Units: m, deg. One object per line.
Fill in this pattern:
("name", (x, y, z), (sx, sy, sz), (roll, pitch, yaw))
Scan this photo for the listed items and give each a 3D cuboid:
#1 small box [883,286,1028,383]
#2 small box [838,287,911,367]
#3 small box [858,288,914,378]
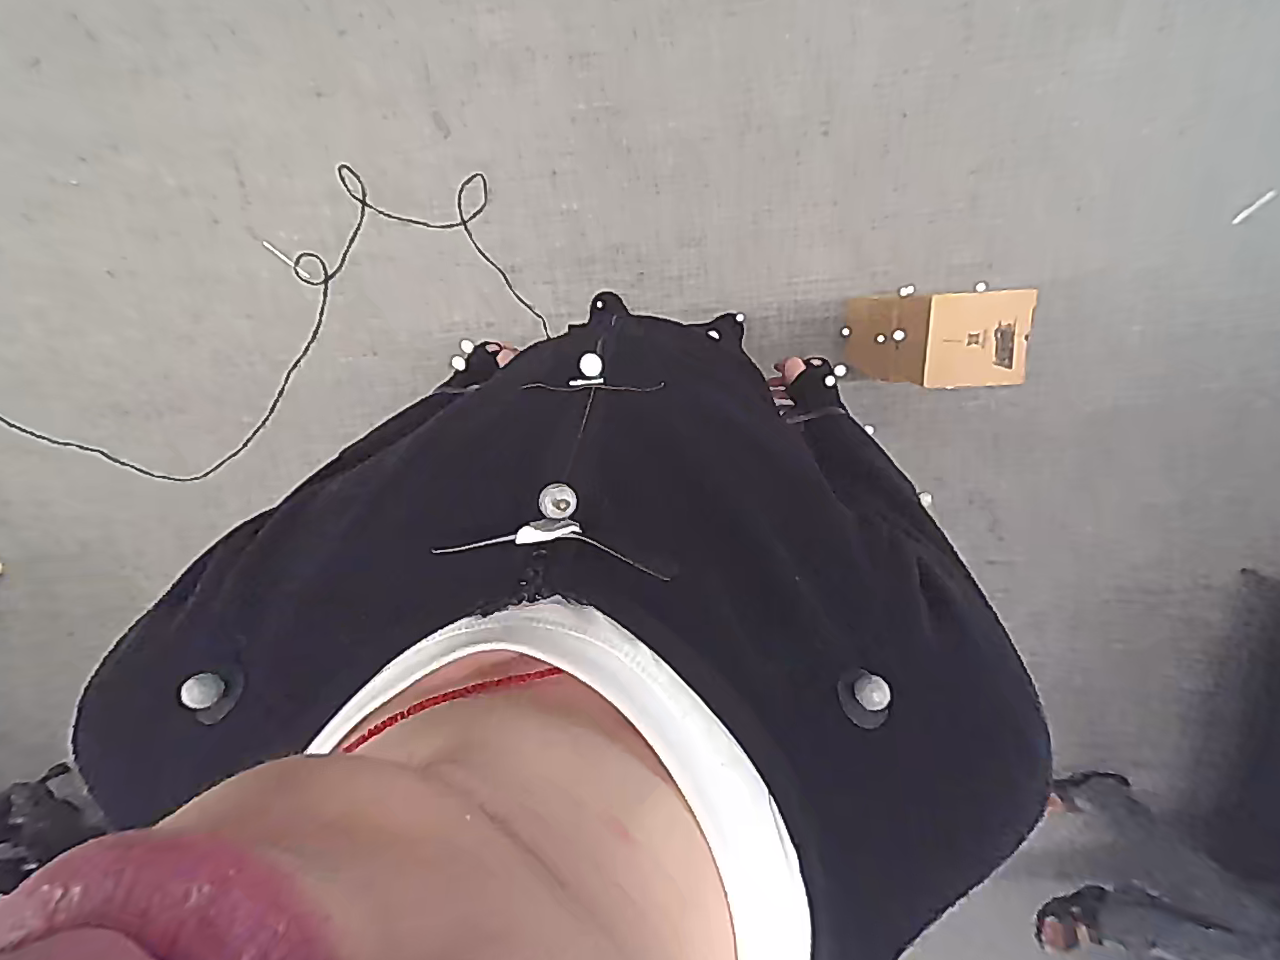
("small box", (0.597, -0.286, 1.046), (0.179, 0.176, 0.168), (-1, 109, 5))
("small box", (0.608, -0.387, 1.357), (0.168, 0.176, 0.179), (-2, 110, 3))
("small box", (0.600, -0.333, 1.206), (0.168, 0.176, 0.179), (-3, 112, 5))
